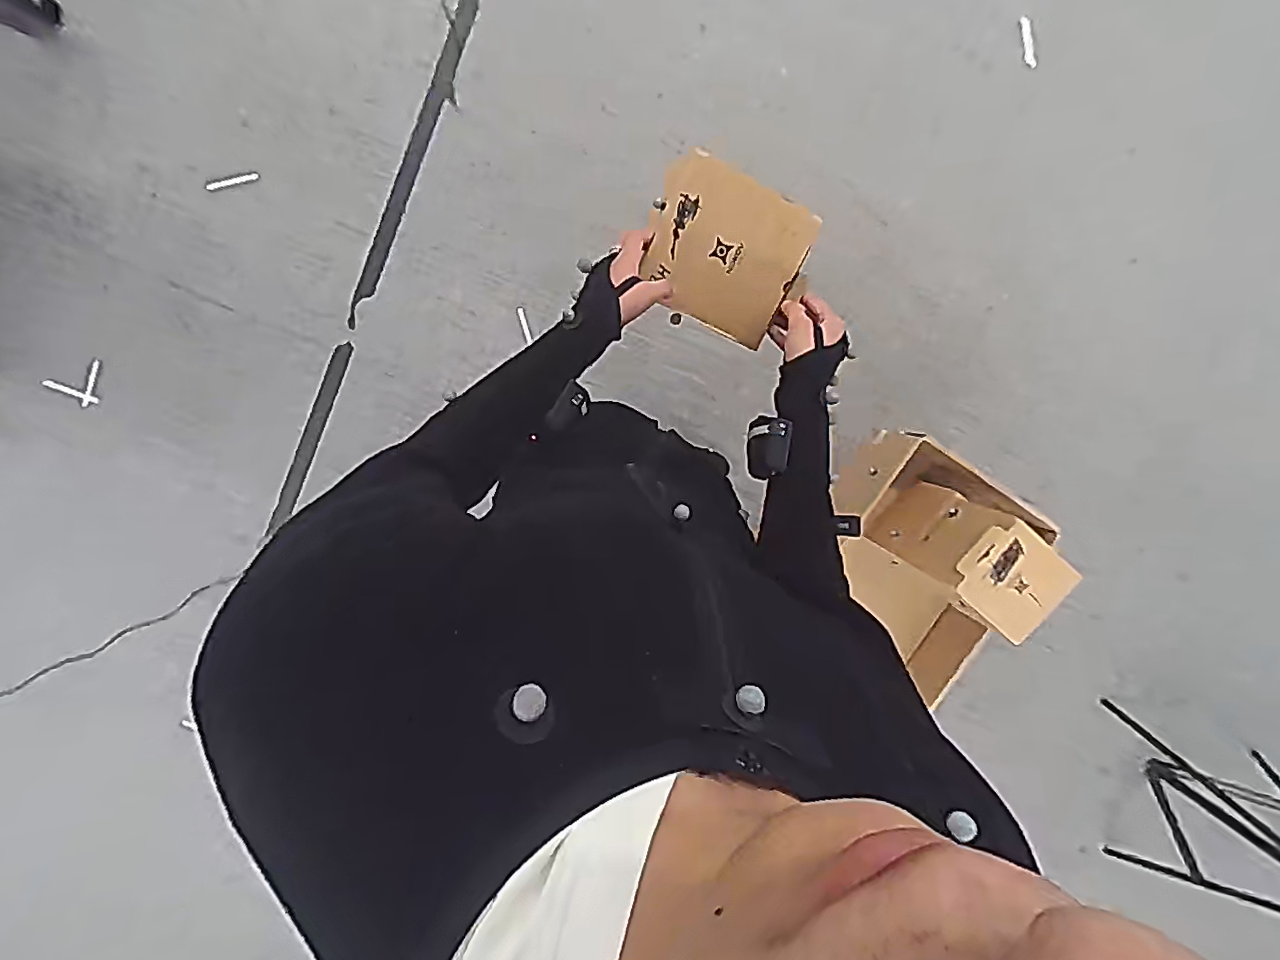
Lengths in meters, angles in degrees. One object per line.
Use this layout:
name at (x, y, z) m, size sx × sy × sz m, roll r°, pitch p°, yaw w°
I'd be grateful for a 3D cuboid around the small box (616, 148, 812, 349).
small box at (0.082, -0.292, 0.701) m, size 0.179 × 0.176 × 0.168 m, roll 22°, pitch 108°, yaw -14°

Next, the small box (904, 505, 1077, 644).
small box at (0.641, 0.165, 1.013) m, size 0.179 × 0.176 × 0.168 m, roll 40°, pitch 96°, yaw -9°
